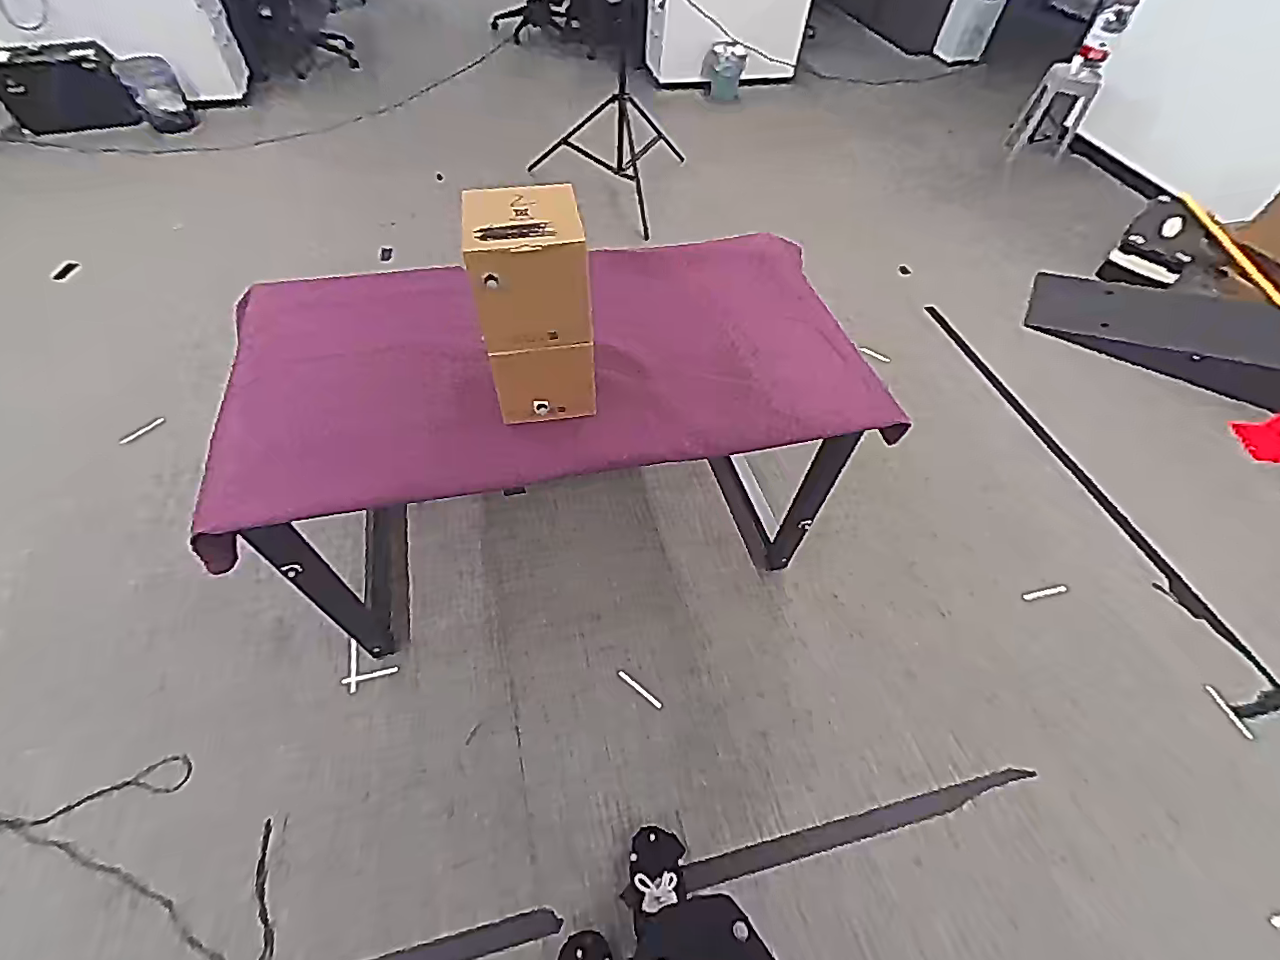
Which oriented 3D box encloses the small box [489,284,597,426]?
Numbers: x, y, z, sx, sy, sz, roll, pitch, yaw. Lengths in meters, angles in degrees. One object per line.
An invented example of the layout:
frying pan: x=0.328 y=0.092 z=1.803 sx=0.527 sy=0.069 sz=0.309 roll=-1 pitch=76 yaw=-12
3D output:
small box: x=-0.170 y=-0.221 z=0.963 sx=0.168 sy=0.176 sz=0.179 roll=-9 pitch=55 yaw=-8
